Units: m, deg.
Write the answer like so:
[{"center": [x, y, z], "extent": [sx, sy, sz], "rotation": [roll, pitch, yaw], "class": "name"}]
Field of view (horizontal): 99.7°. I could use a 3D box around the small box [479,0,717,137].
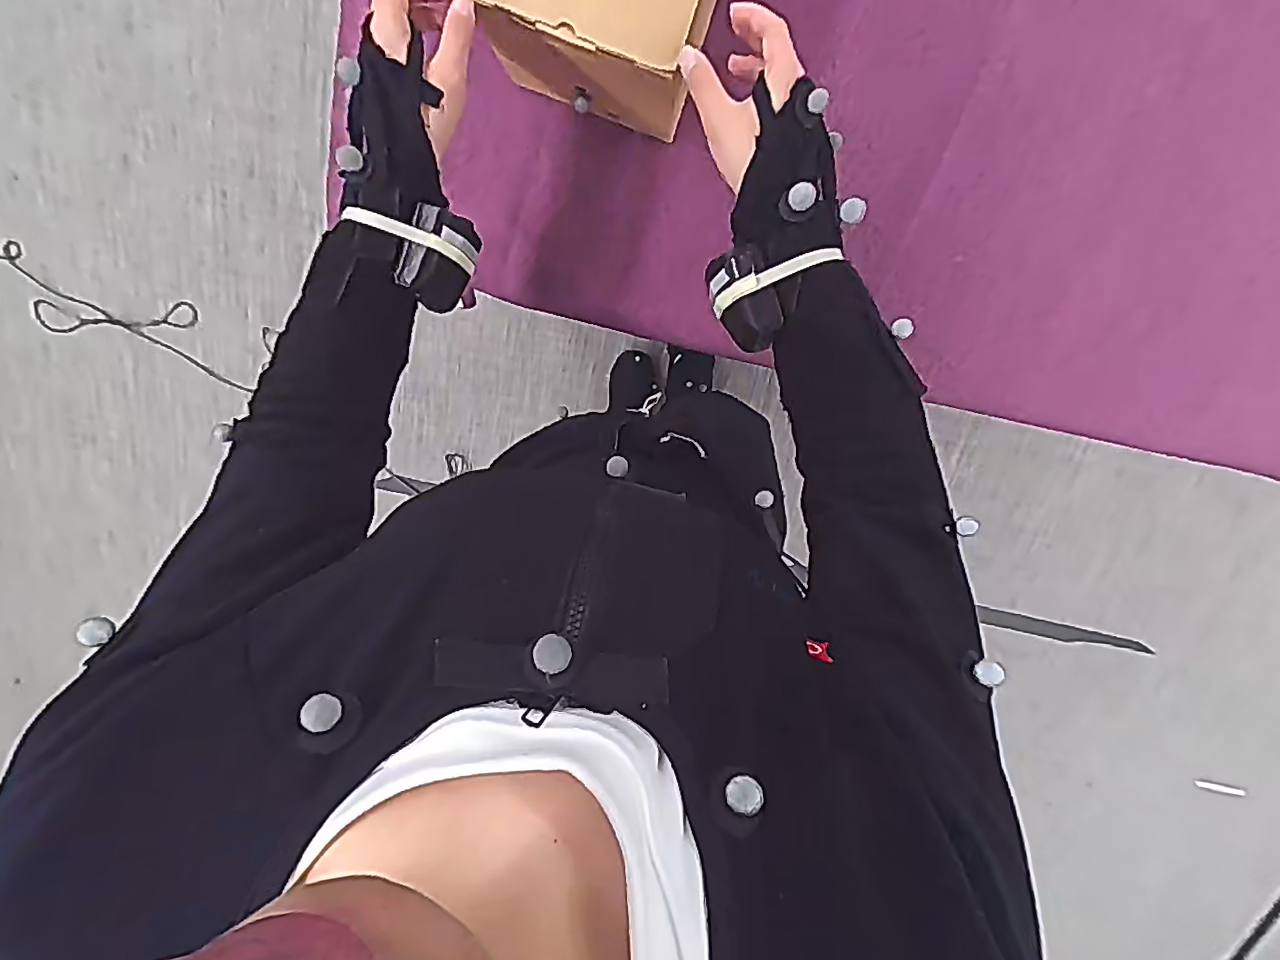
[{"center": [-0.021, -0.416, 0.432], "extent": [0.168, 0.176, 0.179], "rotation": [19, 107, -4], "class": "small box"}]
